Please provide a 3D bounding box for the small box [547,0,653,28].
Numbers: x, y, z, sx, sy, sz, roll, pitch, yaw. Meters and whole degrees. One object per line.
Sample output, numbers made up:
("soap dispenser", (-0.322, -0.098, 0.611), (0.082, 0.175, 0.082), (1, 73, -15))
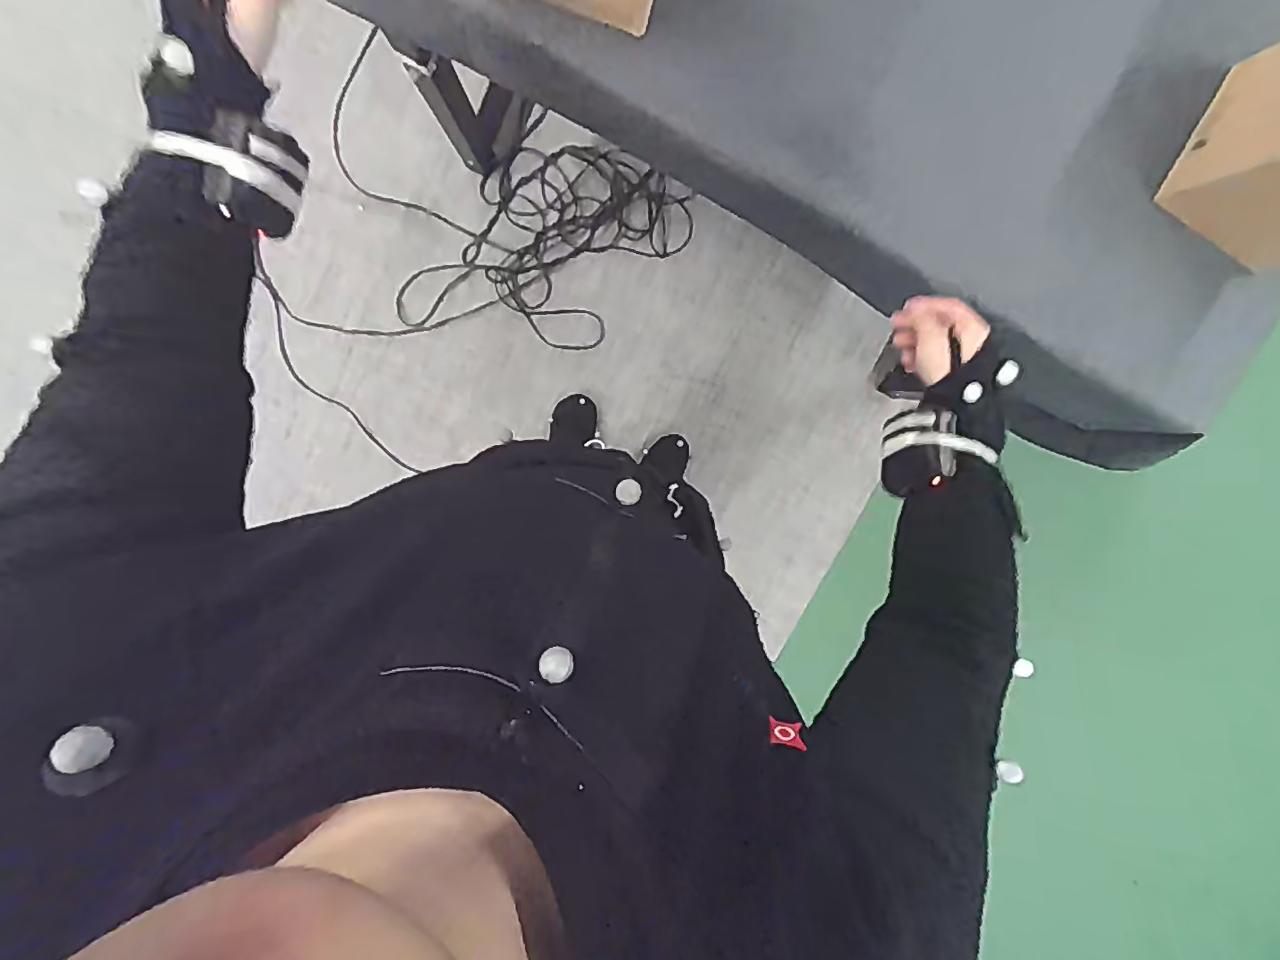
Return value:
("small box", (-0.047, -0.531, 0.447), (0.179, 0.176, 0.168), (15, 98, -8))
